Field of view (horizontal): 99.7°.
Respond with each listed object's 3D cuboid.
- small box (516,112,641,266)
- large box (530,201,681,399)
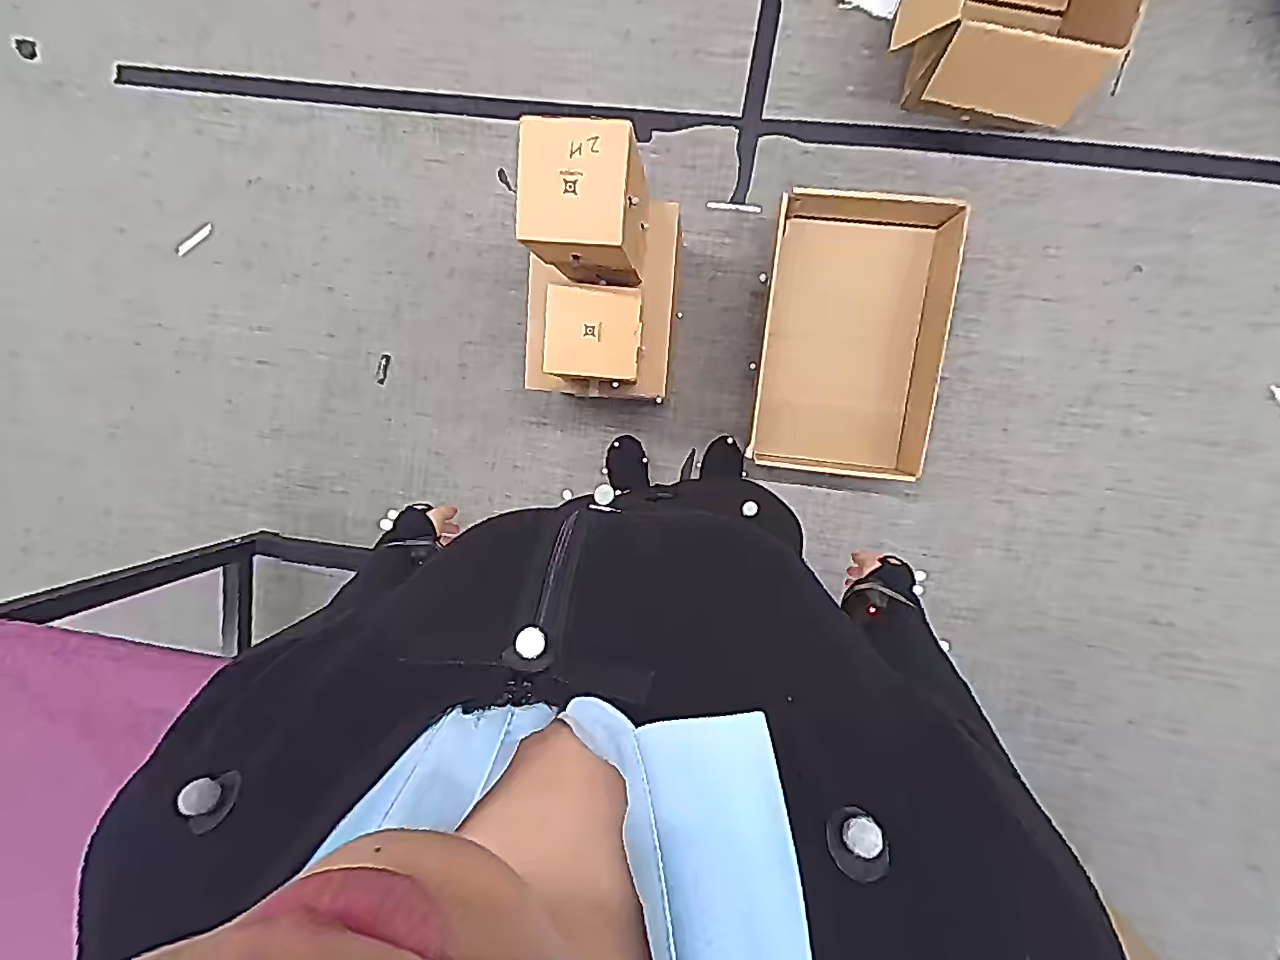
[{"bbox_3d":[-0.092,-0.455,0.872,0.168,0.176,0.179,6,99,4],"label":"small box"},{"bbox_3d":[-0.066,-0.405,1.292,0.320,0.320,0.408,5,99,6],"label":"large box"}]
